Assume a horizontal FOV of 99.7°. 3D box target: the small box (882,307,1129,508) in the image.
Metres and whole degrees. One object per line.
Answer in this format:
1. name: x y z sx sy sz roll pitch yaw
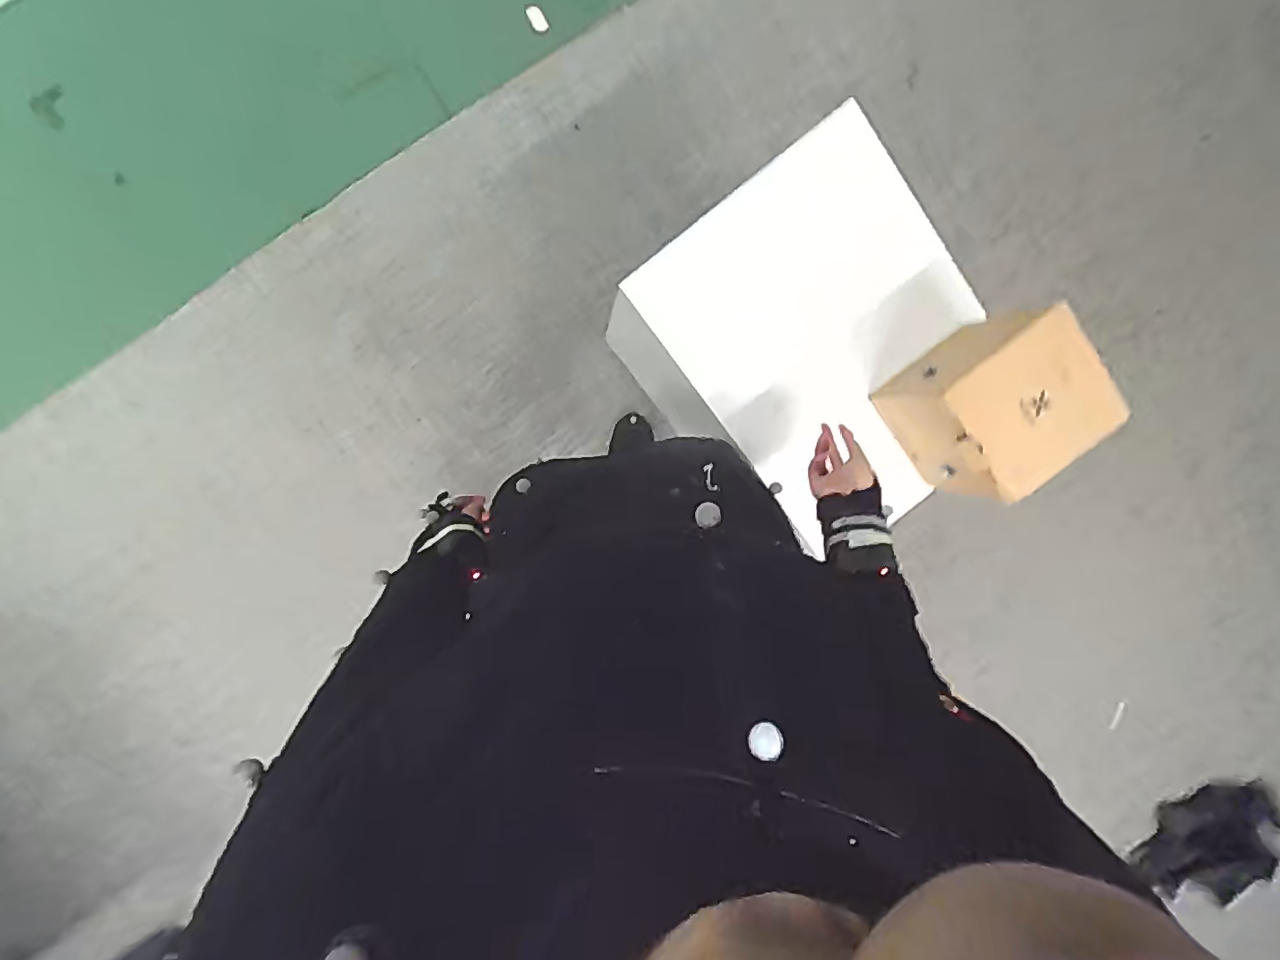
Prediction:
1. small box: 0.446 -0.089 0.695 0.179 0.176 0.168 -38 100 -1
